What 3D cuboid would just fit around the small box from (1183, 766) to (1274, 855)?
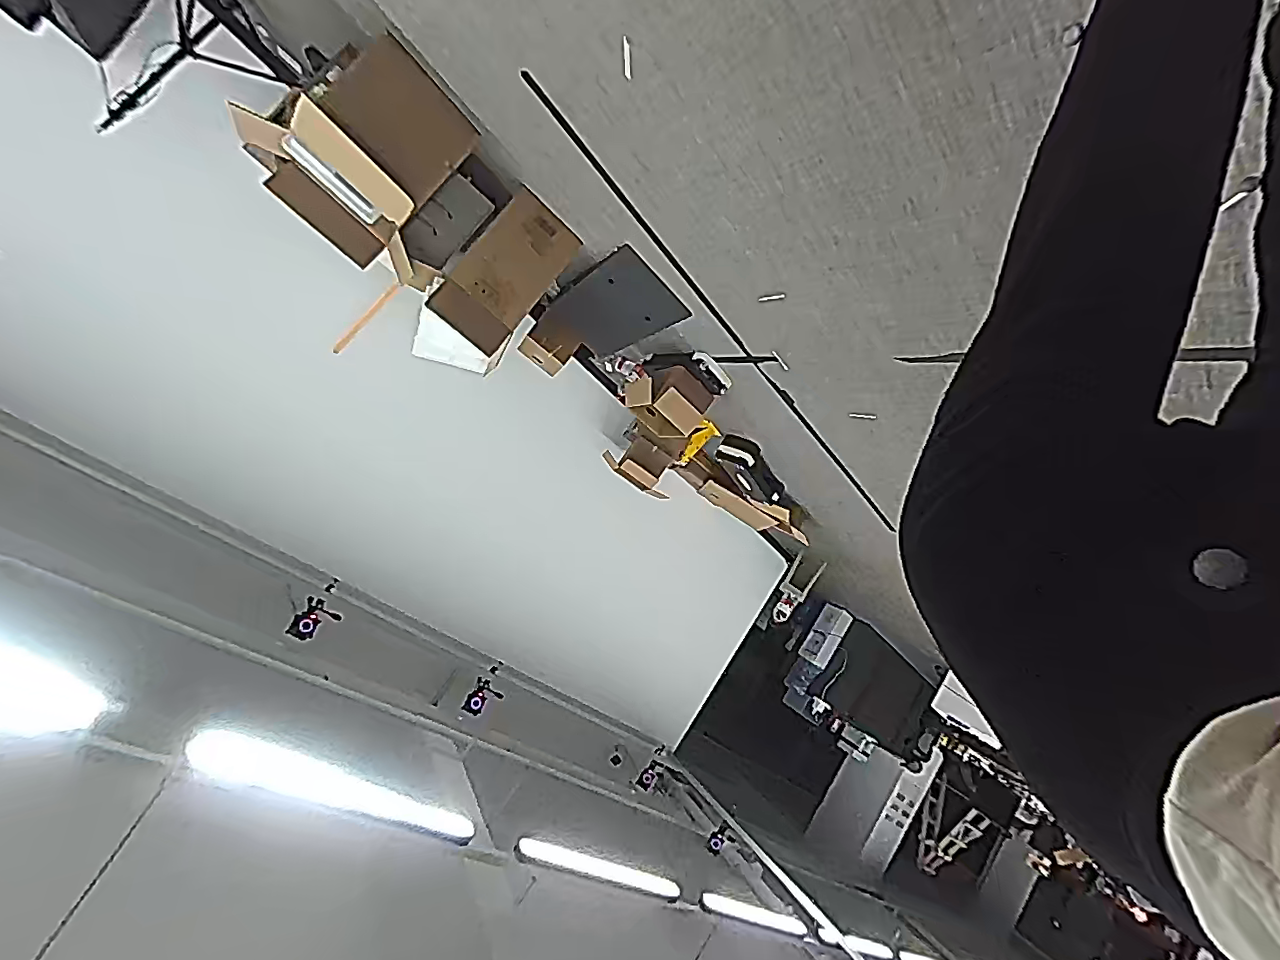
[{"bbox_3d":[1.967,1.097,1.804,0.168,0.176,0.179,43,167,-31],"label":"small box"}]
